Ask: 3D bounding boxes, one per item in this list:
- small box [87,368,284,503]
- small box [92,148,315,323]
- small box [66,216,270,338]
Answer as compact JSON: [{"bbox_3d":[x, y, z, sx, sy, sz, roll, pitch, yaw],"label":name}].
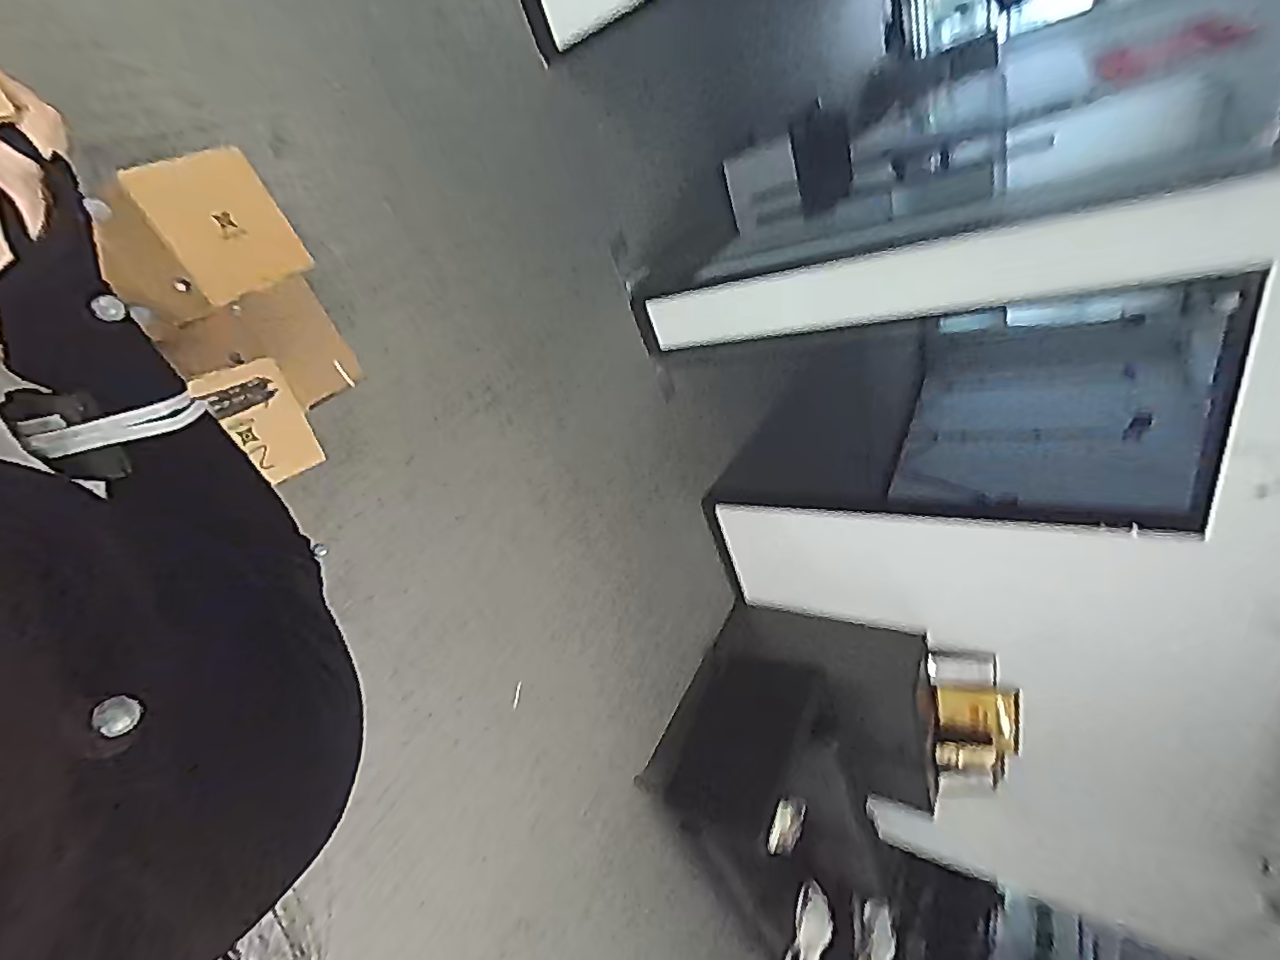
[{"bbox_3d":[-0.767,-0.078,0.918,0.179,0.176,0.168,-48,128,-43],"label":"small box"},{"bbox_3d":[-0.645,-0.357,0.804,0.168,0.176,0.179,-54,132,-41],"label":"small box"},{"bbox_3d":[-0.778,-0.350,0.898,0.168,0.176,0.179,-55,132,-40],"label":"small box"}]
